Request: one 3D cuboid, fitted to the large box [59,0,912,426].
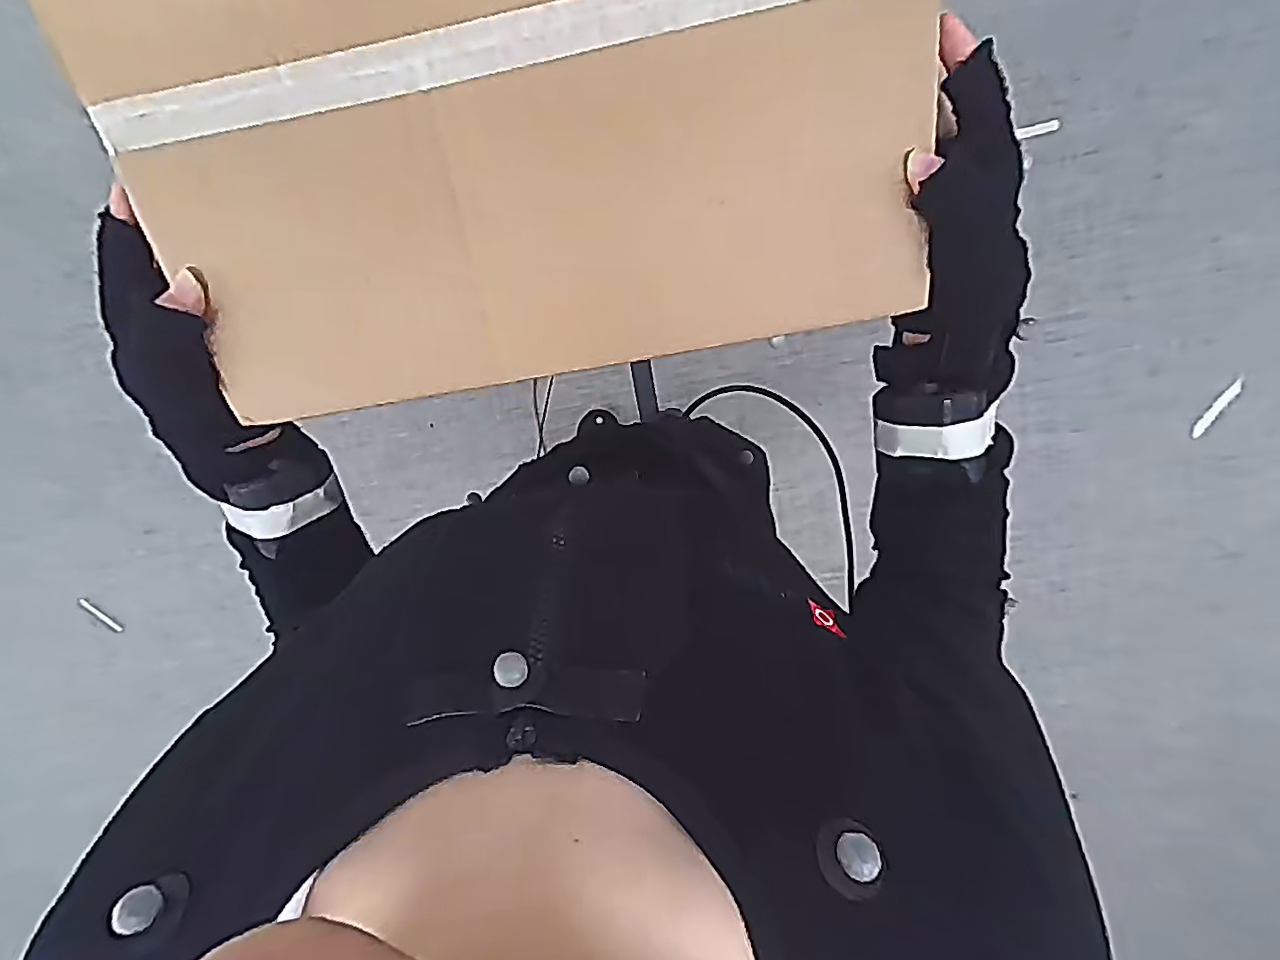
[{"bbox_3d":[-0.066,-0.263,0.401,0.408,0.320,0.320,-9,112,5],"label":"large box"}]
